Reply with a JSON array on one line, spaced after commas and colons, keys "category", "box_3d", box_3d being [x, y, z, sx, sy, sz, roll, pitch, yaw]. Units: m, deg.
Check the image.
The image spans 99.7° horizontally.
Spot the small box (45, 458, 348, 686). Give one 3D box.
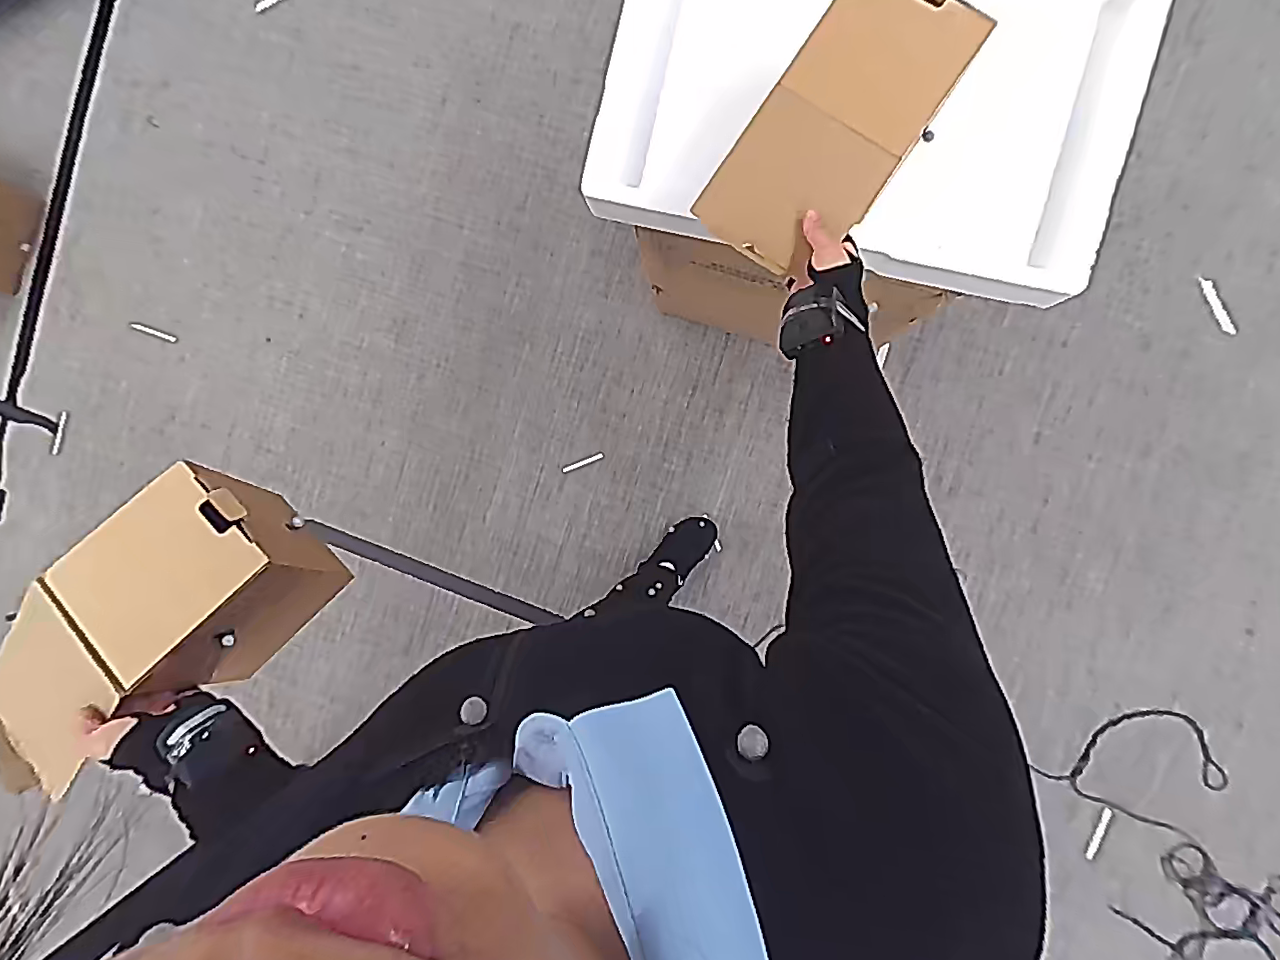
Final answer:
[{"category": "small box", "box_3d": [-0.490, 0.110, 0.628, 0.168, 0.176, 0.179, 42, 79, 11]}]
